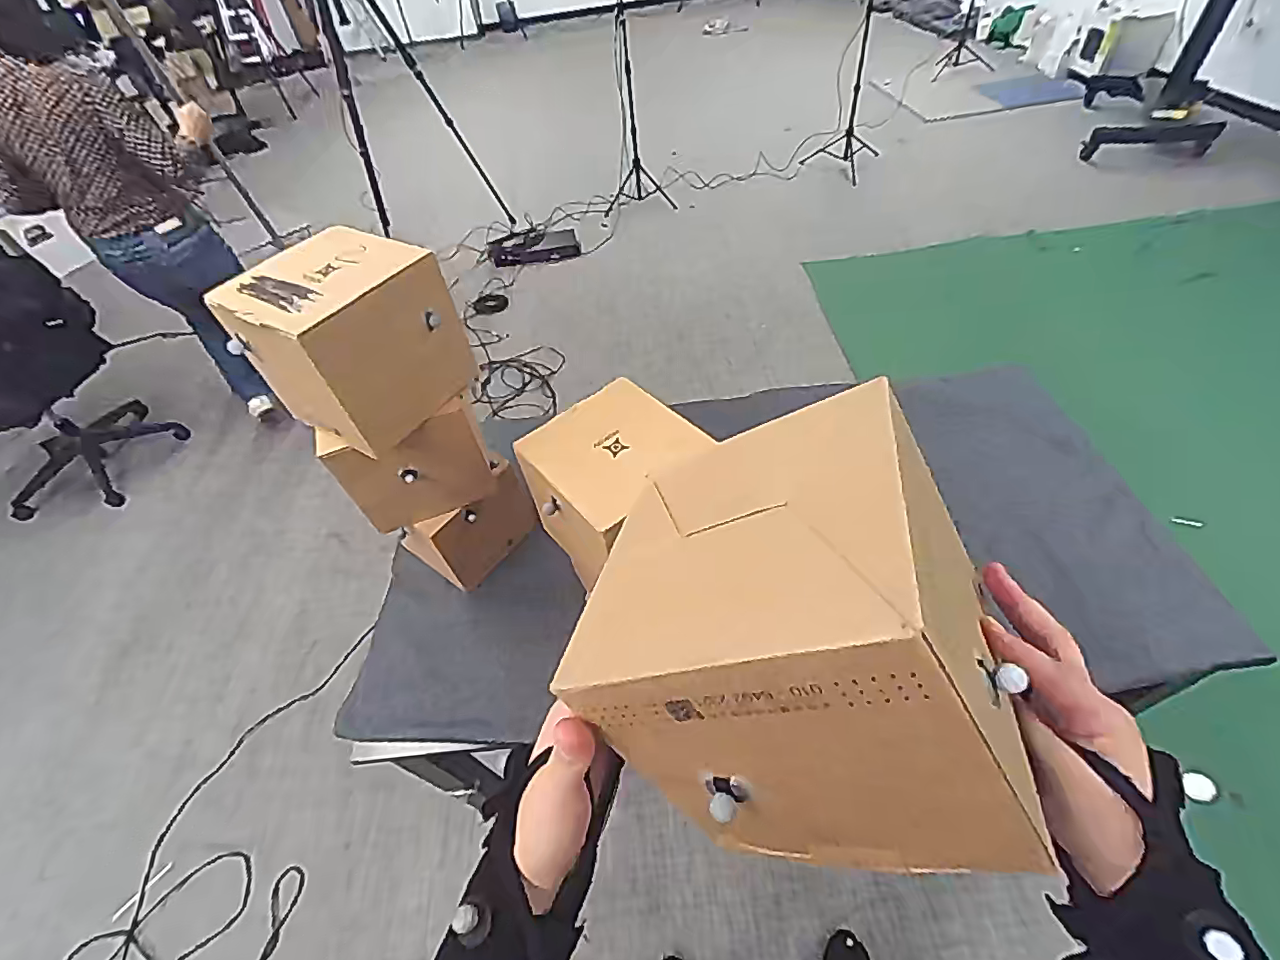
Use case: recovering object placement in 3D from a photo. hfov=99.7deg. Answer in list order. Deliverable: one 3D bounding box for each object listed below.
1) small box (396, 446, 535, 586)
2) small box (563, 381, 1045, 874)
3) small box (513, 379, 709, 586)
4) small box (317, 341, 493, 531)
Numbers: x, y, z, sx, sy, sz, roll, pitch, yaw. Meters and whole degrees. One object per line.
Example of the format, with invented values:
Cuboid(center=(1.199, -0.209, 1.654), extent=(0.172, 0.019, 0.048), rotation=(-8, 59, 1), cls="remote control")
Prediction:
Cuboid(center=(-0.302, 0.044, 0.886), extent=(0.179, 0.176, 0.168), rotation=(27, 58, 26), cls="small box")
Cuboid(center=(0.086, 0.077, 0.300), extent=(0.168, 0.176, 0.179), rotation=(-20, 29, 33), cls="small box")
Cuboid(center=(-0.021, 0.015, 0.655), extent=(0.168, 0.176, 0.179), rotation=(-35, 53, -21), cls="small box")
Cuboid(center=(-0.319, -0.059, 0.757), extent=(0.179, 0.176, 0.168), rotation=(-21, 51, -10), cls="small box")
